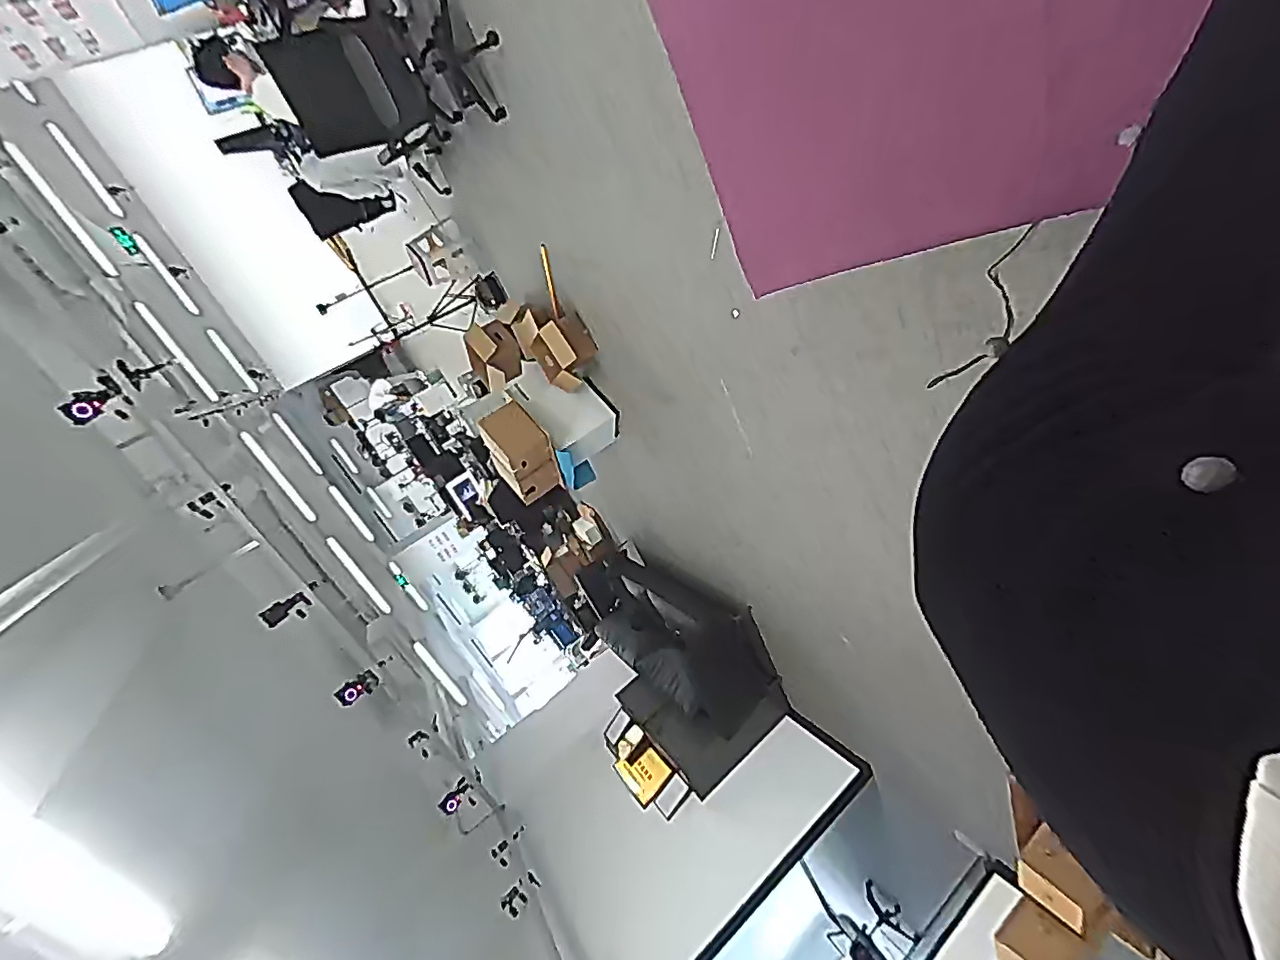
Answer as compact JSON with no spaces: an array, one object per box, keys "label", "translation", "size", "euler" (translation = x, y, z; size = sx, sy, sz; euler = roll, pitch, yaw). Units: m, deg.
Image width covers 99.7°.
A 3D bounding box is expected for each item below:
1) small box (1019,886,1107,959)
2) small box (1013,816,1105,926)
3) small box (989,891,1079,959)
[{"label":"small box","translation":[1.332,1.341,1.703],"size":[0.168,0.176,0.179],"euler":[24,141,56]},{"label":"small box","translation":[1.235,1.146,1.597],"size":[0.168,0.176,0.179],"euler":[28,148,54]},{"label":"small box","translation":[1.197,1.414,1.639],"size":[0.168,0.176,0.179],"euler":[21,139,57]}]
